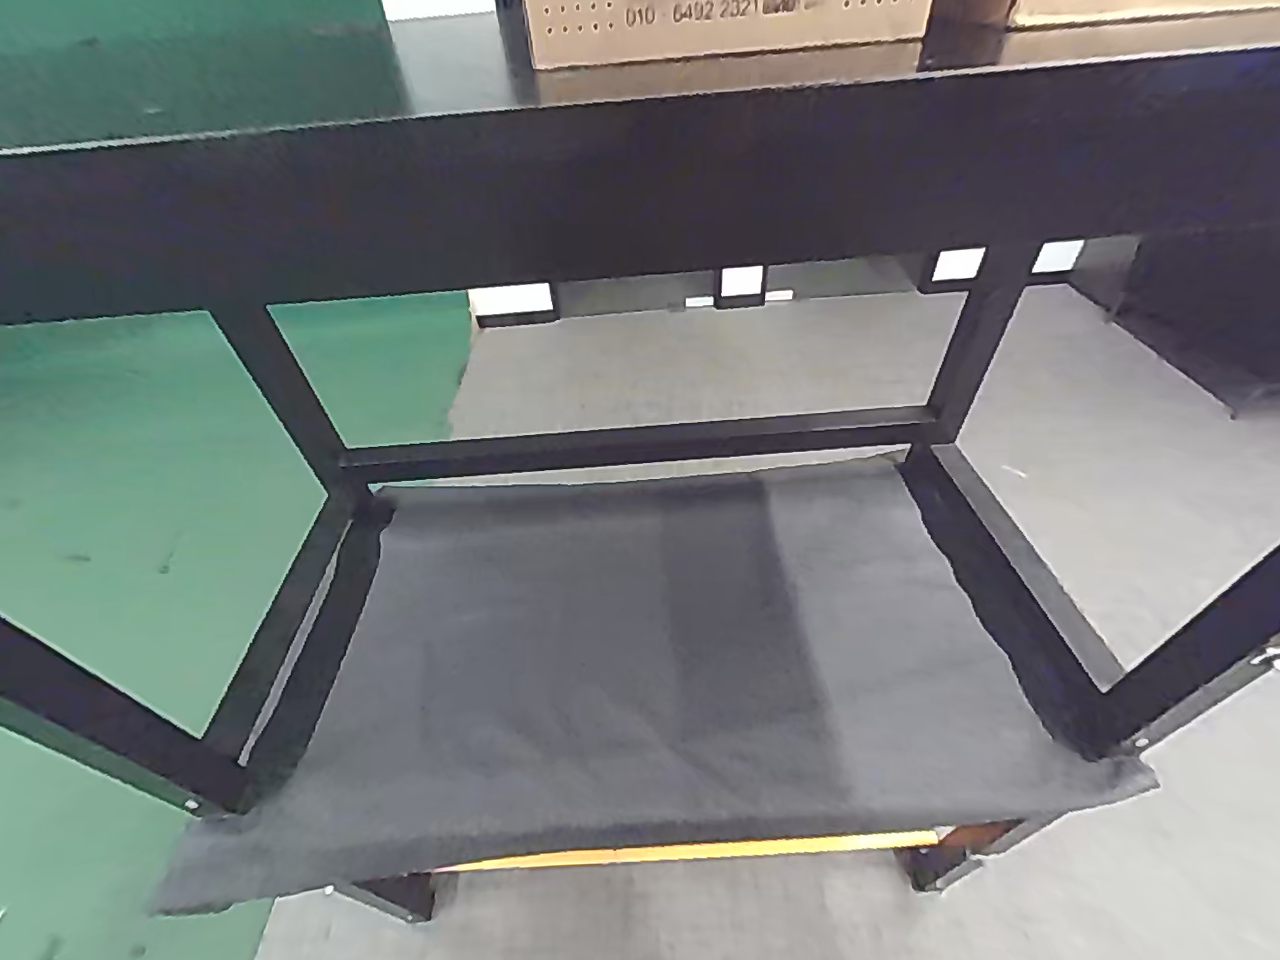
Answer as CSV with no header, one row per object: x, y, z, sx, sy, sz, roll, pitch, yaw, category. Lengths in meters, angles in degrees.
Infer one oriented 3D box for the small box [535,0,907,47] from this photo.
0.031,-0.306,0.239,0.168,0.176,0.179,-2,43,3,small box
